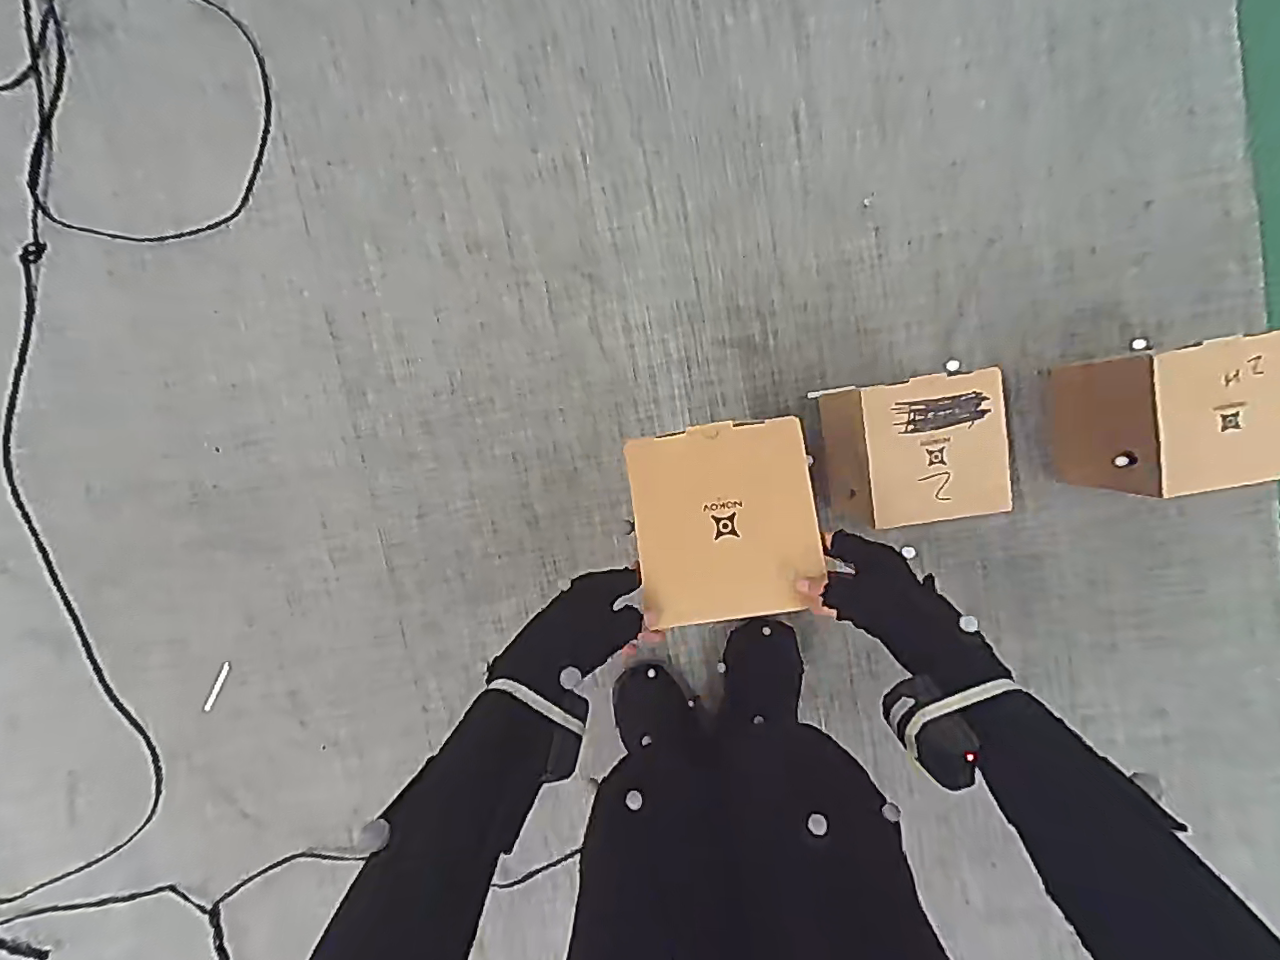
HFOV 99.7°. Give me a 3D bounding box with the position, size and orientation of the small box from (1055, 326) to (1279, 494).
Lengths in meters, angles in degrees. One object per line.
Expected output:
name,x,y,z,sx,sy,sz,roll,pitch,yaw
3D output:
small box,0.684,-0.090,0.701,0.168,0.176,0.179,-10,96,3

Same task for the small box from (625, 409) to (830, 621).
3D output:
small box,0.081,0.040,0.567,0.168,0.176,0.179,-9,82,1
